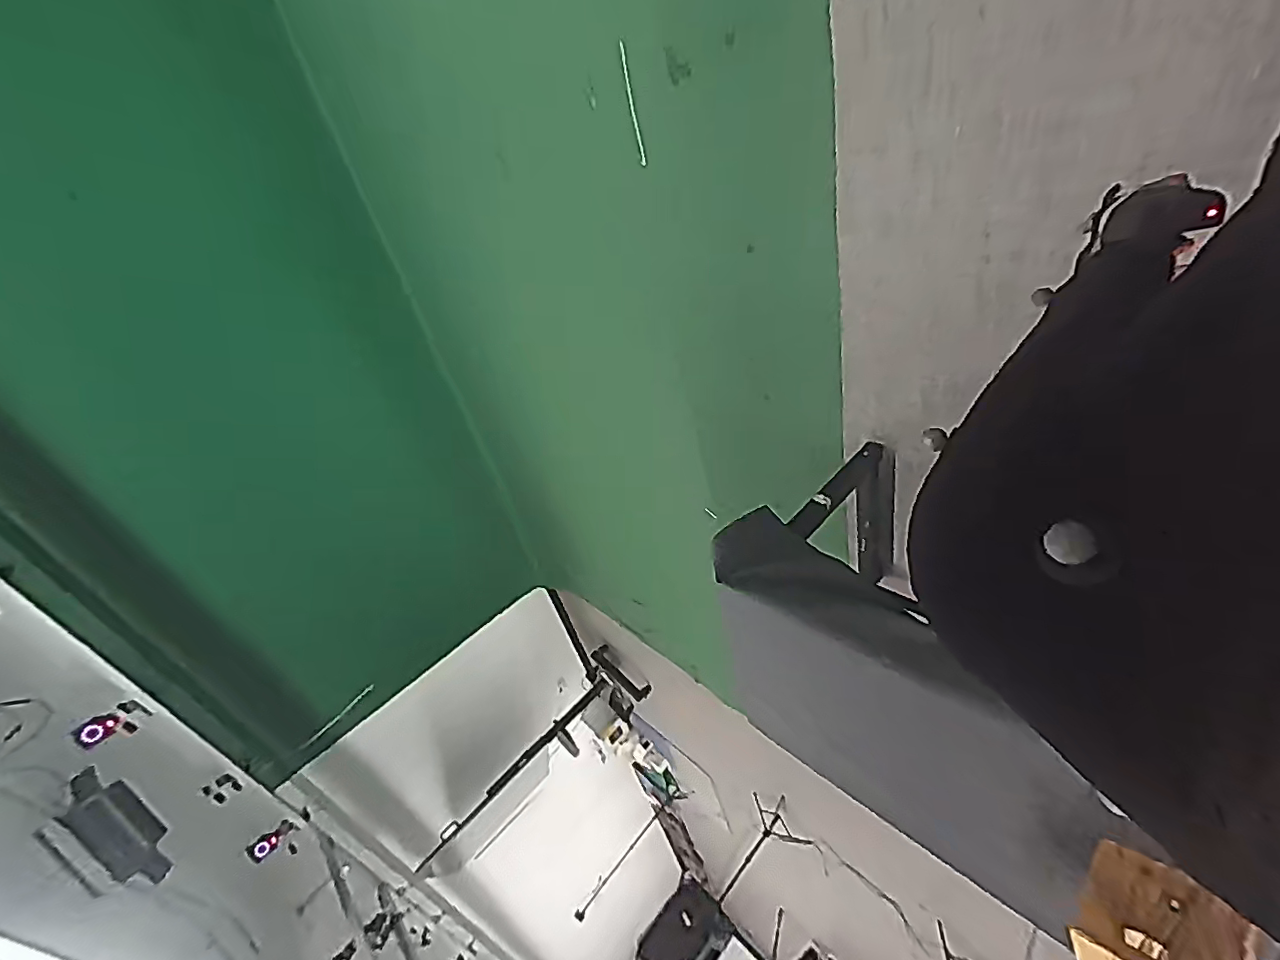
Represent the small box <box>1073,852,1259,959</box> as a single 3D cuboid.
[{"bbox_3d":[0.770,0.708,0.790,0.168,0.176,0.179,4,124,55],"label":"small box"}]
